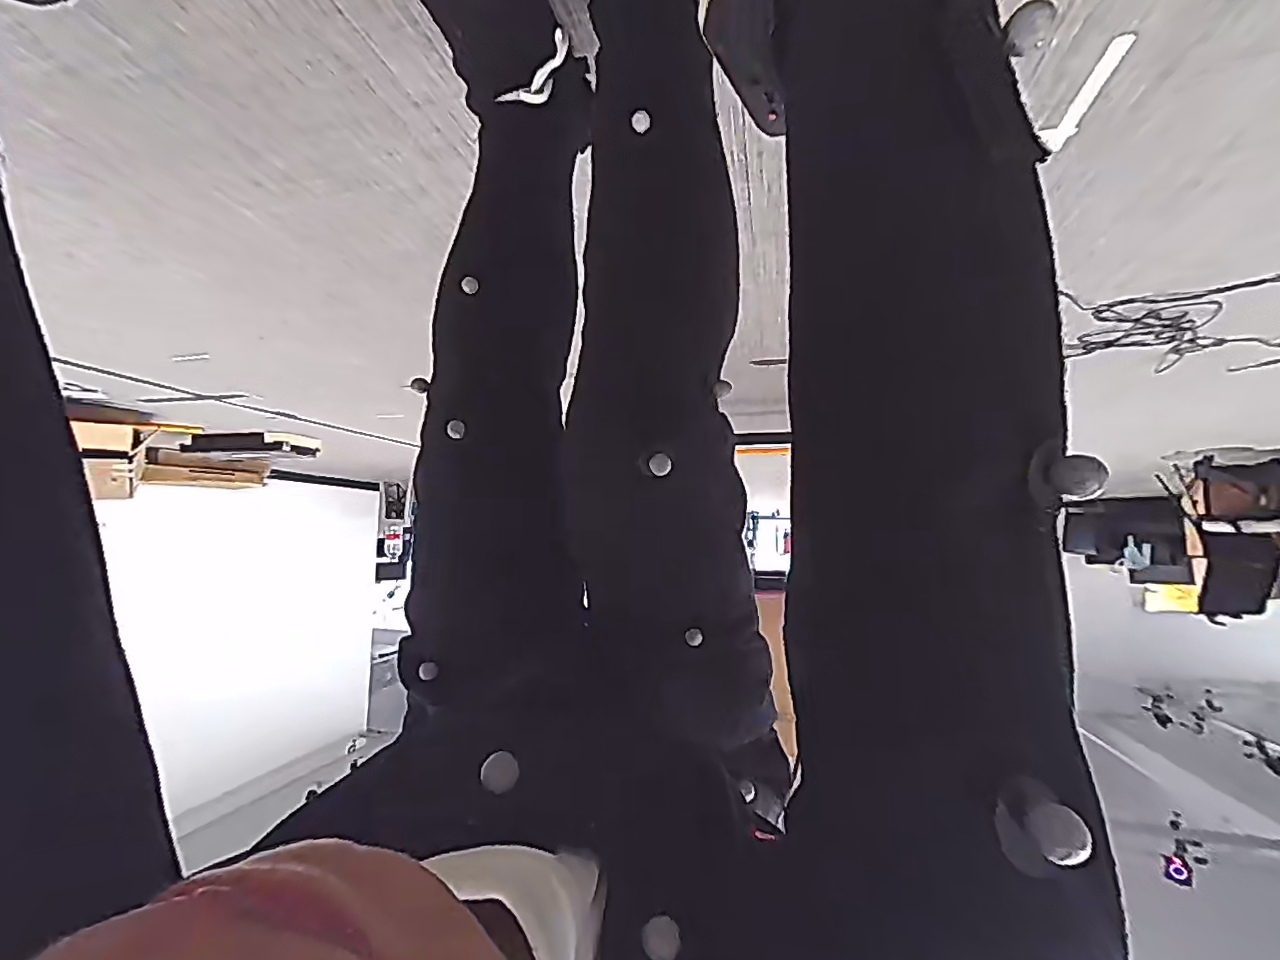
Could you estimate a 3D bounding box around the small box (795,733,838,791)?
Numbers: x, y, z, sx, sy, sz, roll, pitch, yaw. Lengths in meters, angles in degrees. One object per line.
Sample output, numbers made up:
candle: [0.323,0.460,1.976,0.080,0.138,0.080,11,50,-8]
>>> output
small box: [0.754,1.194,2.311,0.168,0.176,0.179,-1,174,15]
